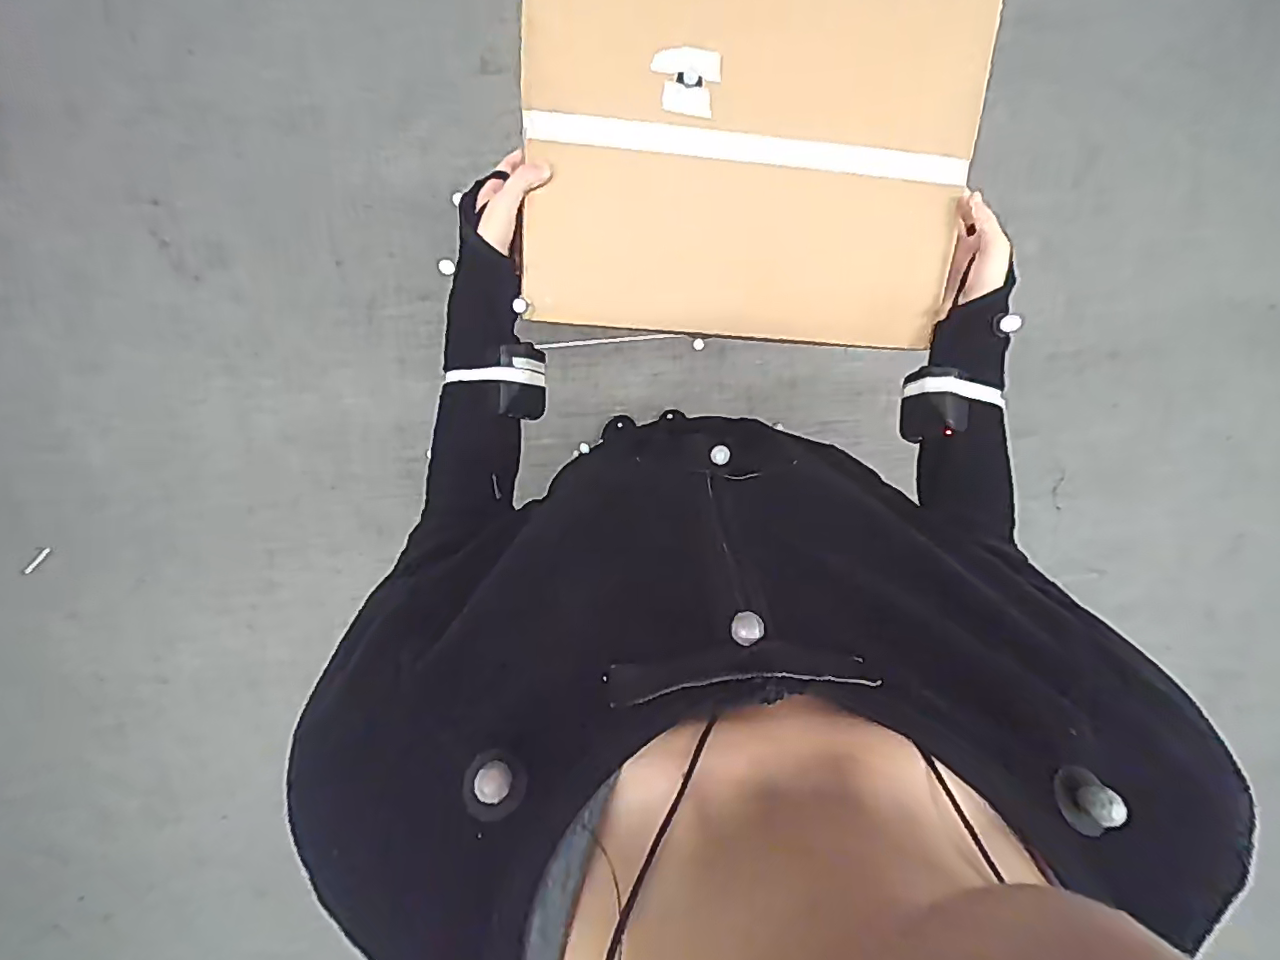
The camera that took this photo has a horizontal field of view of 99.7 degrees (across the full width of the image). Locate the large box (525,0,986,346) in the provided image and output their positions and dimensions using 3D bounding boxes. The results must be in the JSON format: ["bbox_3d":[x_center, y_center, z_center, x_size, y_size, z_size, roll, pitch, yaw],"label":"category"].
[{"bbox_3d":[0.088,-0.331,0.635,0.408,0.320,0.320,3,104,-6],"label":"large box"}]
